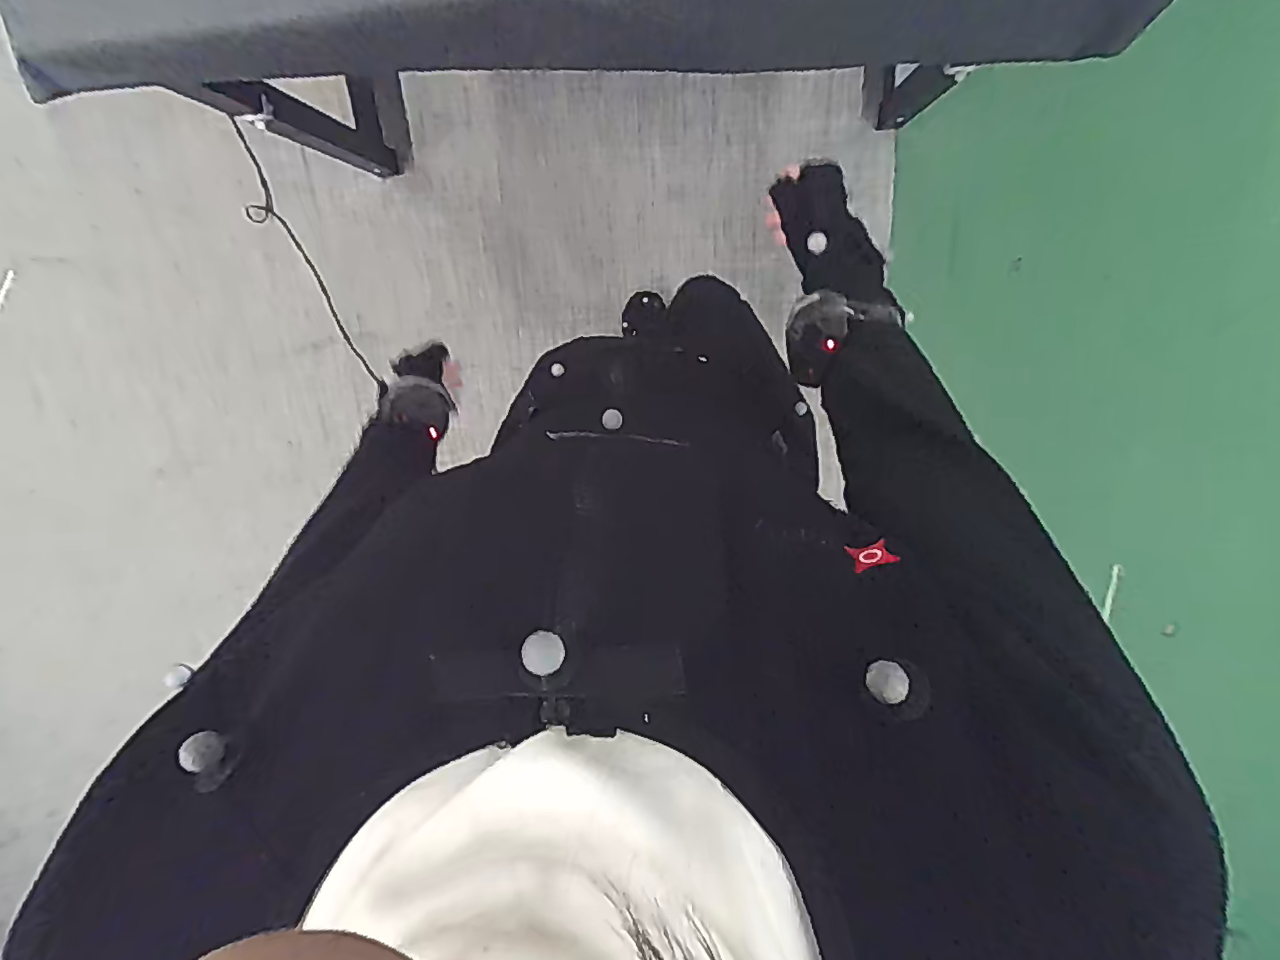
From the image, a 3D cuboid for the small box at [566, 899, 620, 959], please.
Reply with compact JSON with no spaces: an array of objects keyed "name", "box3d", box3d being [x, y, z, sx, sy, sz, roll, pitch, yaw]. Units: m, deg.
[{"name":"small box","box3d":[-0.165,1.664,1.963,0.179,0.176,0.168,-1,107,4]}]
